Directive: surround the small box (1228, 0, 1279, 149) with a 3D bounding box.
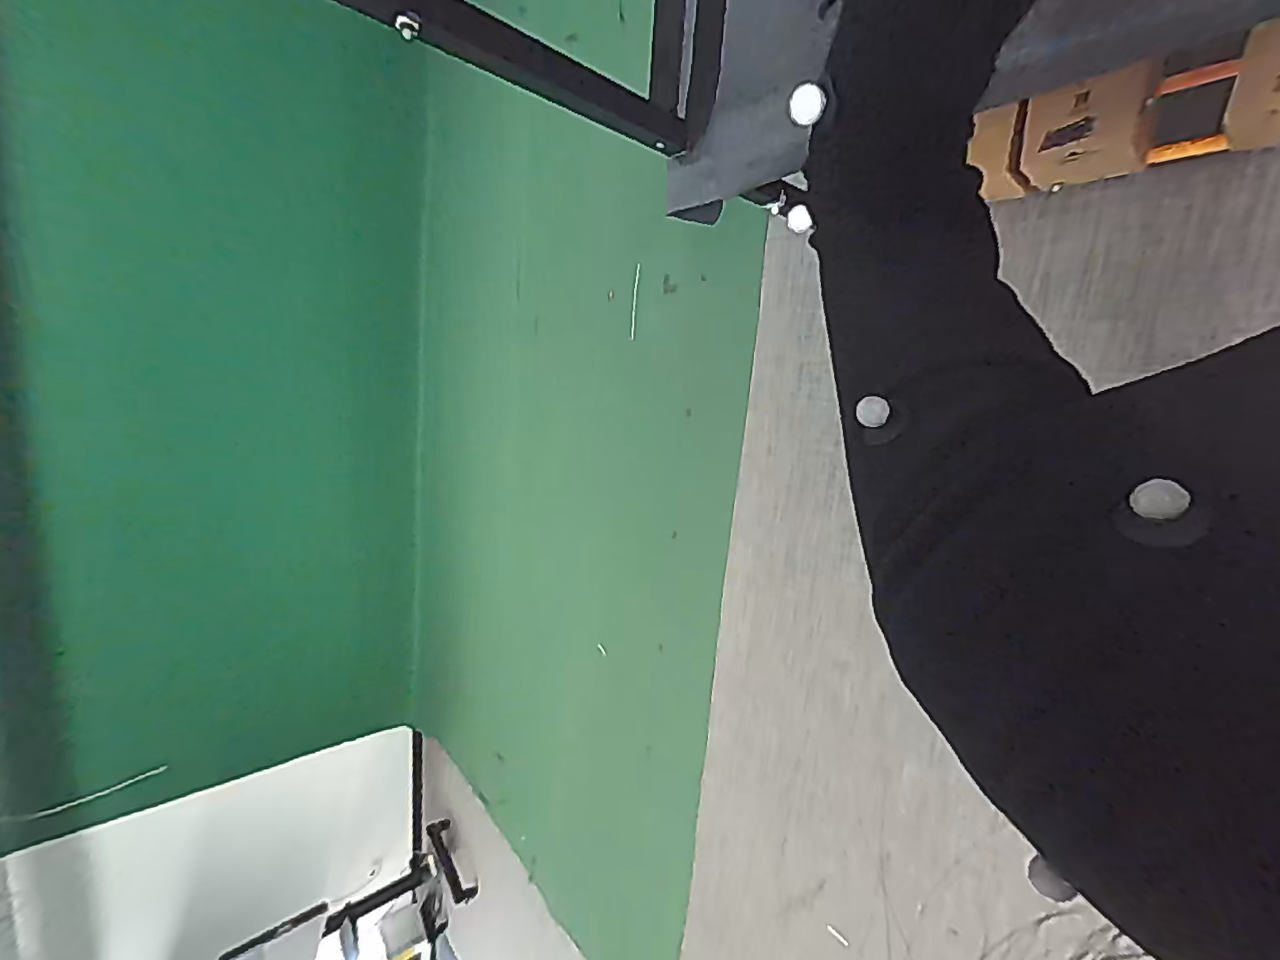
[{"bbox_3d":[1.040,-0.636,0.819,0.168,0.176,0.179,22,112,47],"label":"small box"}]
